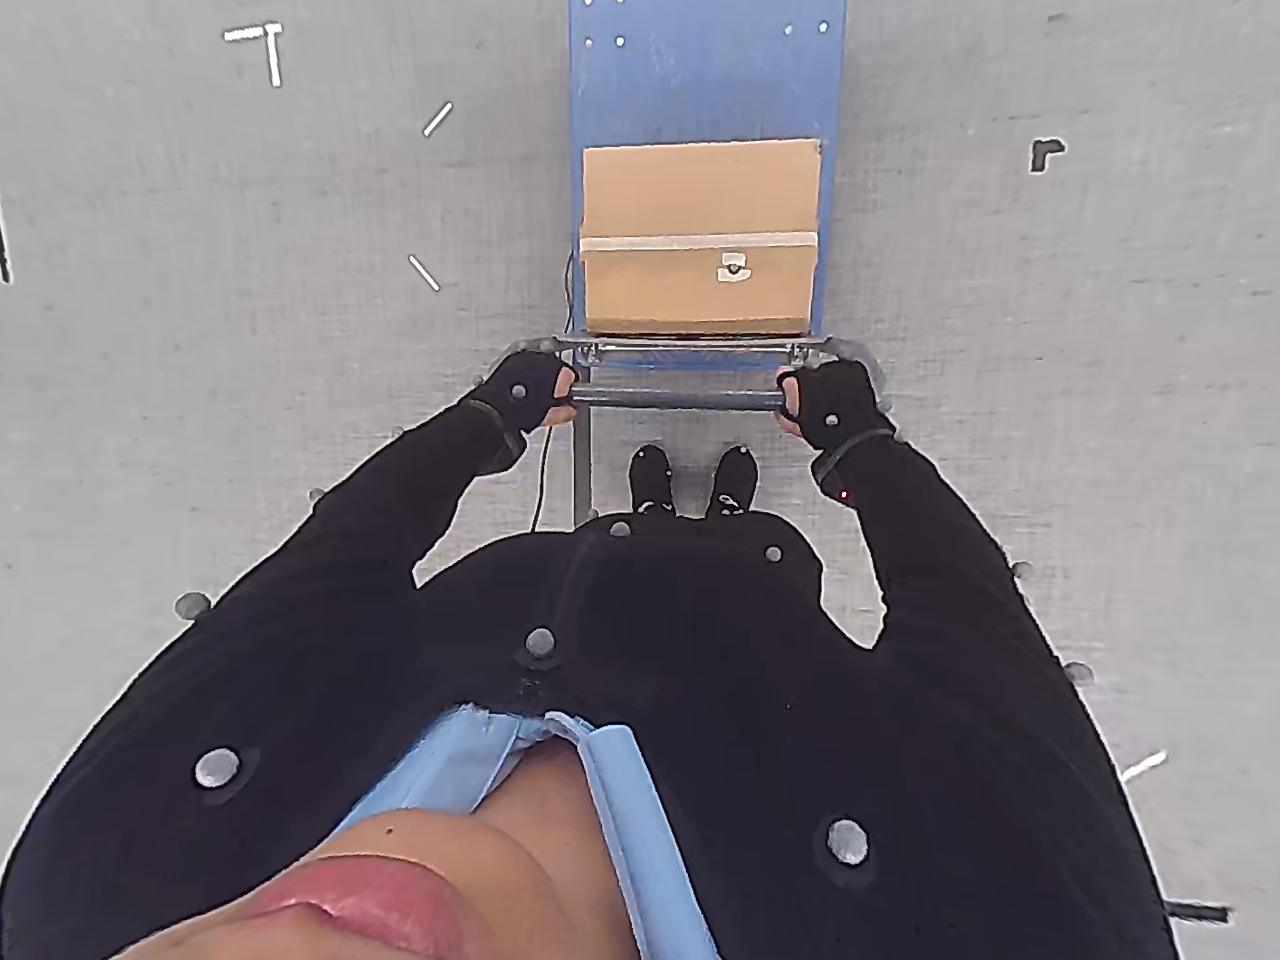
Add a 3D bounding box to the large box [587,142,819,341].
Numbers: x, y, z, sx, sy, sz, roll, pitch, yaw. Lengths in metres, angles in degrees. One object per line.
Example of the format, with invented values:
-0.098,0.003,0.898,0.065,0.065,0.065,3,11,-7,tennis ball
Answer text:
0.121,-0.453,1.106,0.408,0.320,0.320,1,103,6,large box
